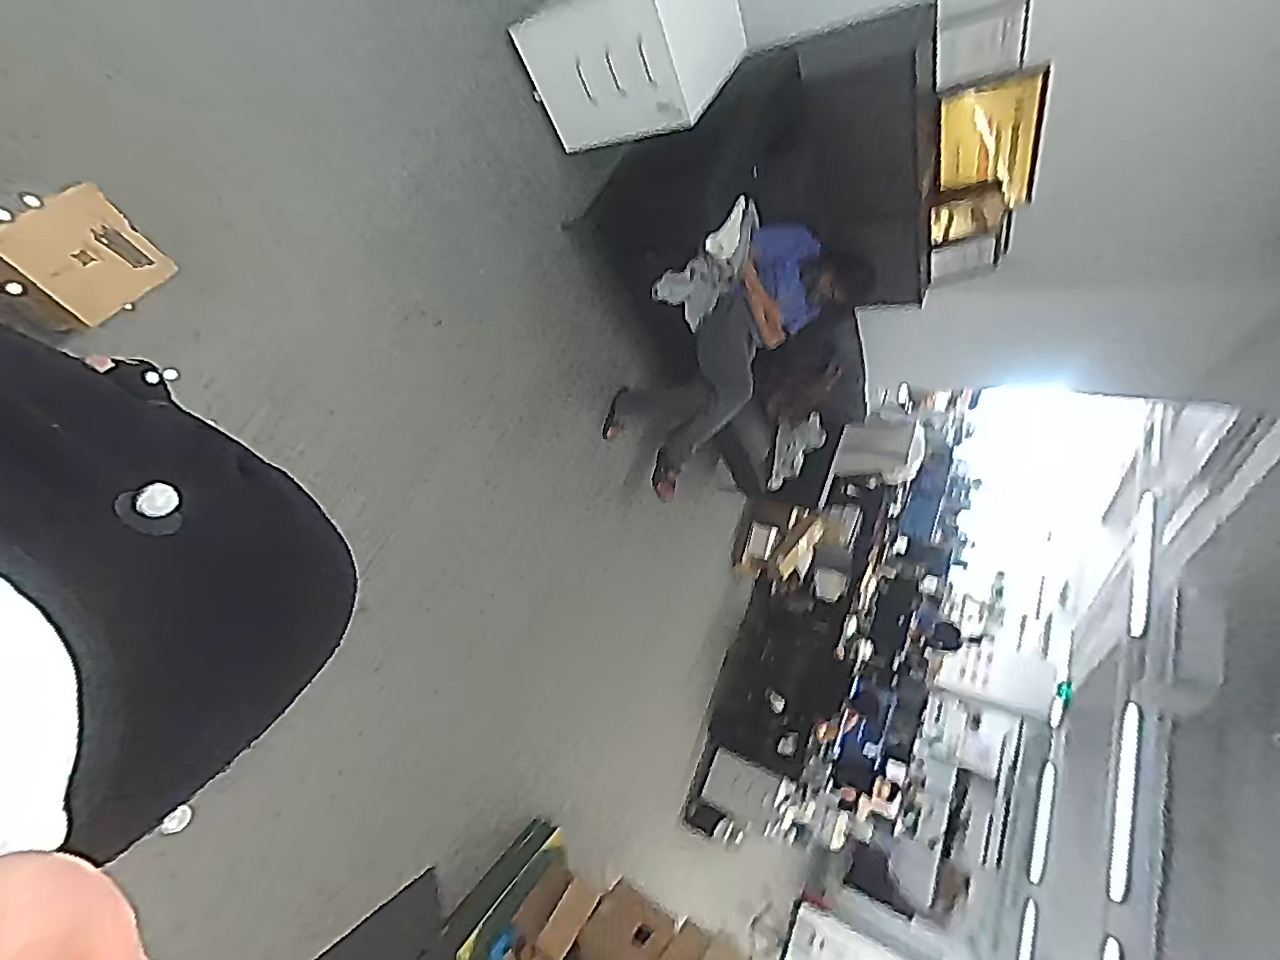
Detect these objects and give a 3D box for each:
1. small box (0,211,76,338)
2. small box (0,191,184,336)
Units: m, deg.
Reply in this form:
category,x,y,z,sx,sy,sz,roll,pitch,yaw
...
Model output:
category,x,y,z,sx,sy,sz,roll,pitch,yaw
small box,-1.104,-0.389,1.018,0.179,0.176,0.168,-60,143,-28
small box,-0.963,-0.369,0.934,0.179,0.176,0.168,-58,141,-28
